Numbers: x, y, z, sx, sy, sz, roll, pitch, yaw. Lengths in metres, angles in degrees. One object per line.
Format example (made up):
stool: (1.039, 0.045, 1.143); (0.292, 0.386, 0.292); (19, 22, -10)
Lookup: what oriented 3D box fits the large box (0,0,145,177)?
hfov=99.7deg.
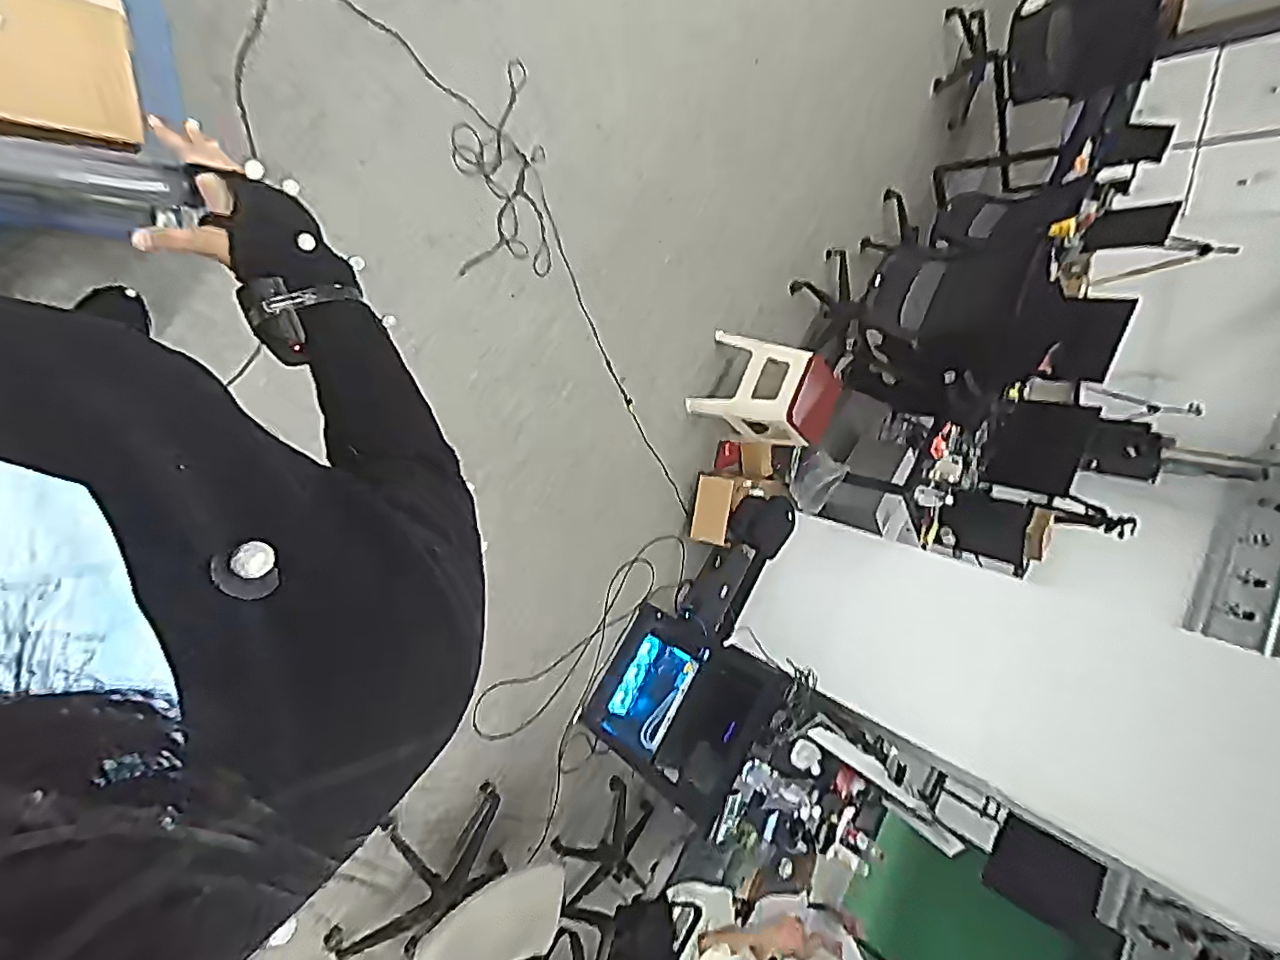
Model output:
large box: (-0.898, -0.586, 0.637); (0.408, 0.320, 0.320); (-14, 114, -44)
